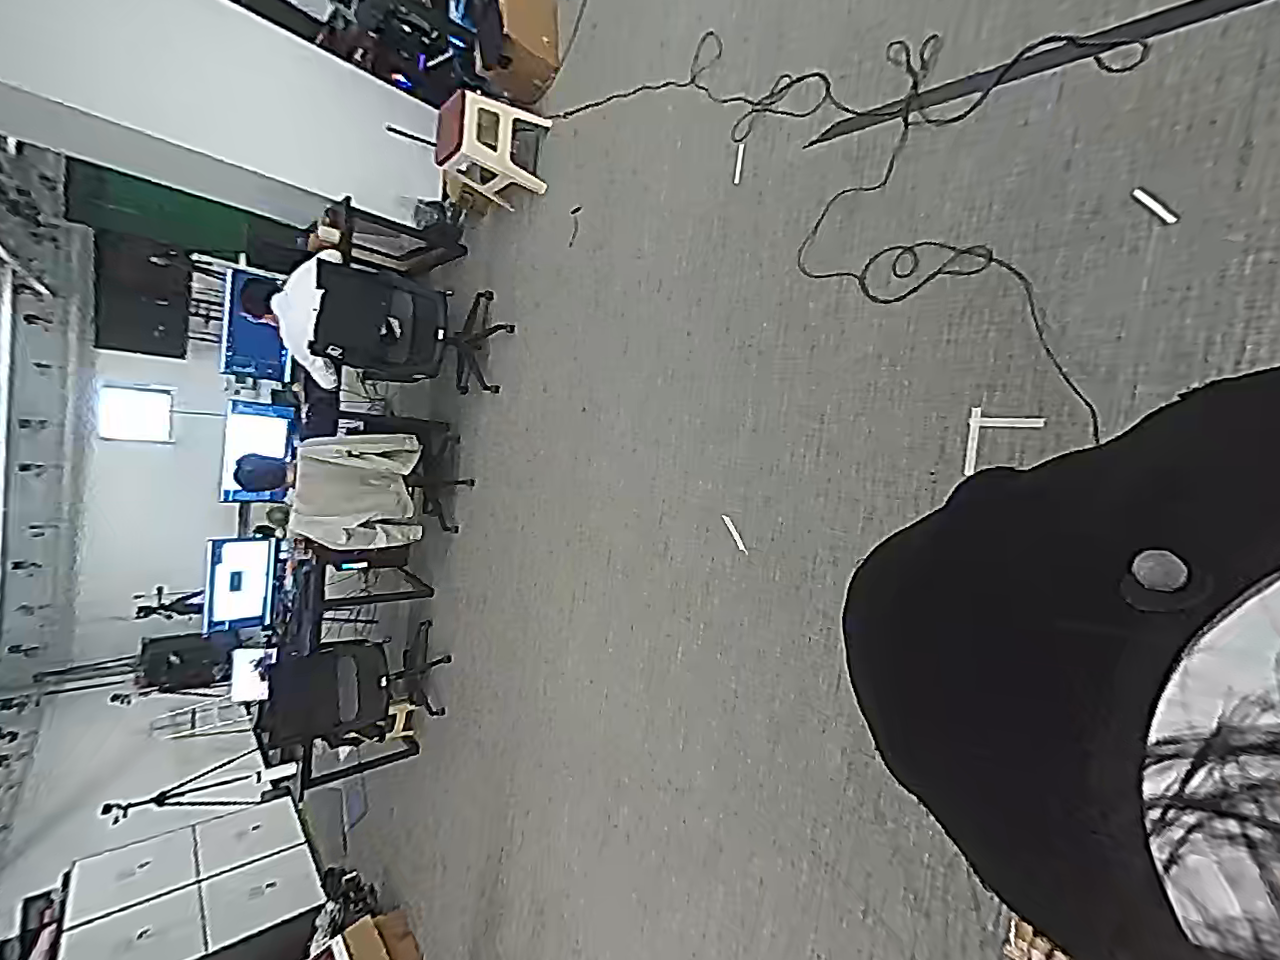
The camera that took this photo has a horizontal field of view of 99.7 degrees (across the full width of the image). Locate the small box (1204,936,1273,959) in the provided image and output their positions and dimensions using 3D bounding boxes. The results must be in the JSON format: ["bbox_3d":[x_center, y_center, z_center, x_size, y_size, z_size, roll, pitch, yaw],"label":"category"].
[{"bbox_3d":[0.736,0.682,0.601,0.168,0.176,0.179,13,95,45],"label":"small box"}]
